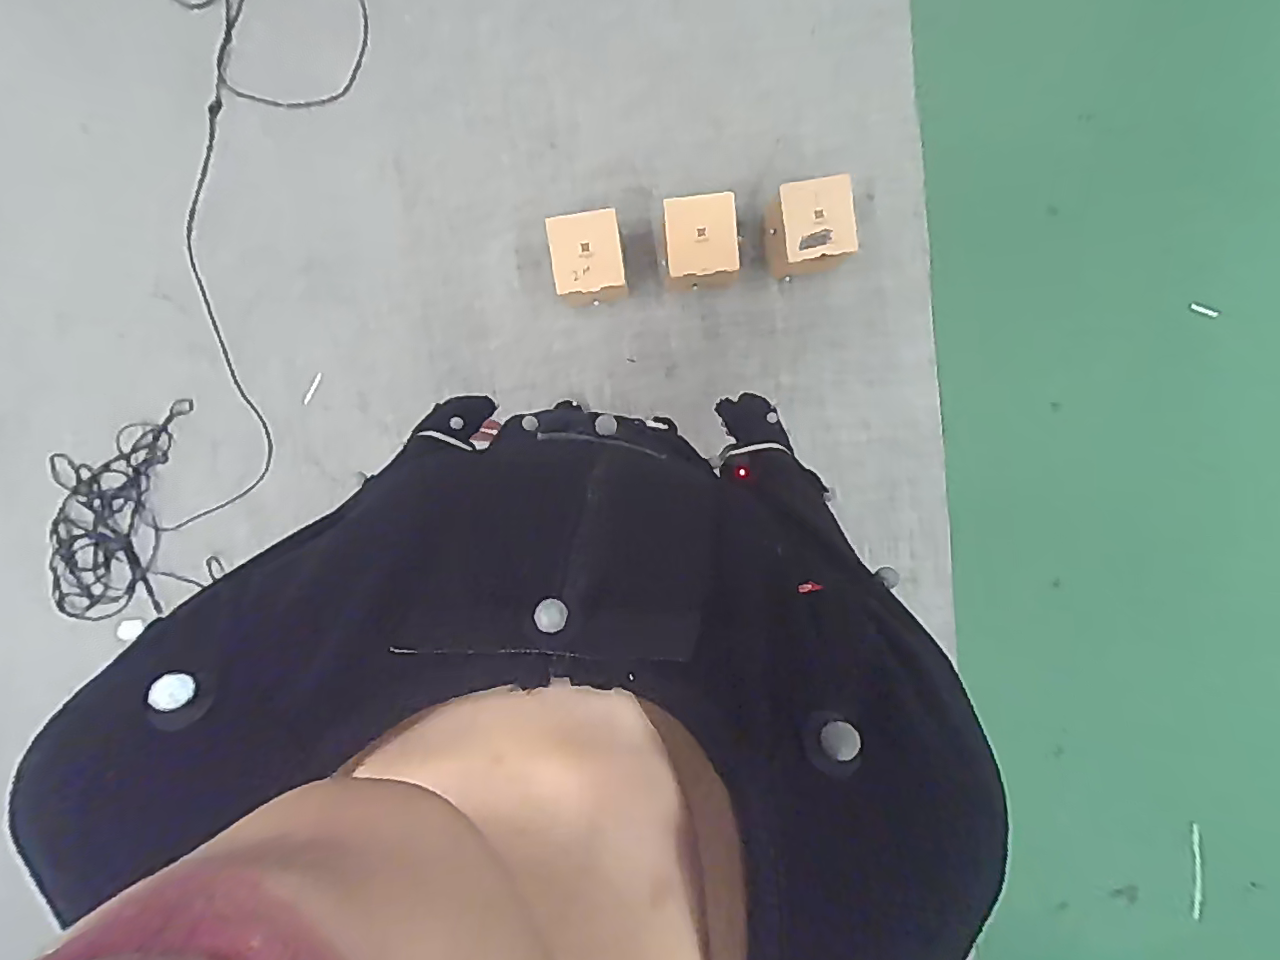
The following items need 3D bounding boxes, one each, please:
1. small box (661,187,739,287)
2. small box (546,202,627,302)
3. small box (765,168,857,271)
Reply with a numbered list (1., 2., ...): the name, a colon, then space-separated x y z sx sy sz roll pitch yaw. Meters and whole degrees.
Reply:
1. small box: 0.141 -0.584 1.318 0.168 0.176 0.179 -6 98 1
2. small box: -0.125 -0.550 1.324 0.168 0.176 0.179 -7 98 3
3. small box: 0.407 -0.618 1.309 0.168 0.176 0.179 -9 97 2
